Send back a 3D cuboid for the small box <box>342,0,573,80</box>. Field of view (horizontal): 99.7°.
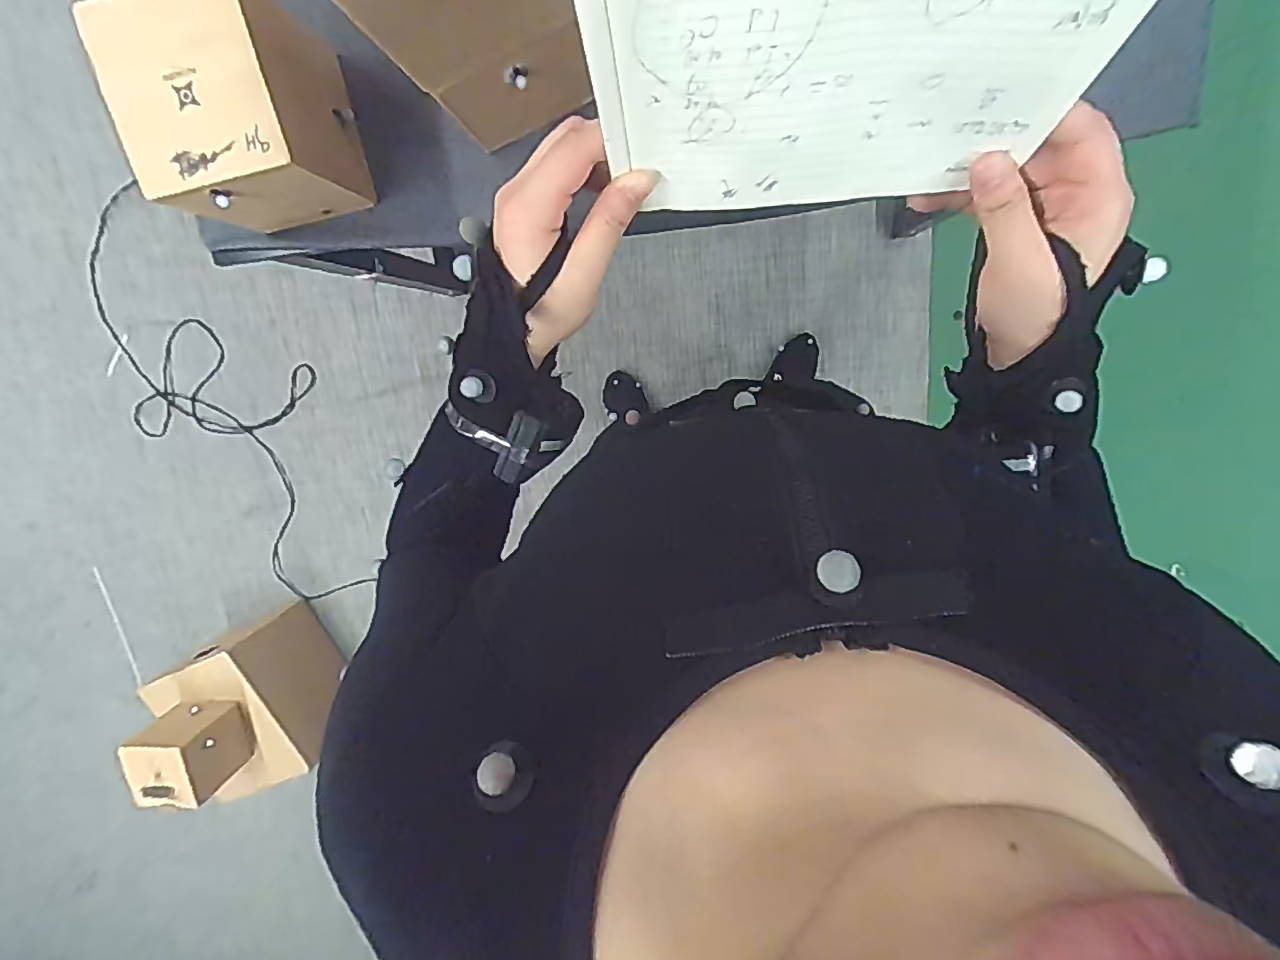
[{"bbox_3d":[-0.163,-0.450,0.404,0.179,0.176,0.168,-19,102,9],"label":"small box"}]

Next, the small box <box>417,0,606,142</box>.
[{"bbox_3d":[-0.151,-0.493,0.563,0.179,0.176,0.168,-21,102,9],"label":"small box"}]

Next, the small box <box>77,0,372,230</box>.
[{"bbox_3d":[-0.438,-0.404,0.604,0.168,0.176,0.179,-10,103,7],"label":"small box"}]

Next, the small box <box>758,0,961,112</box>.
[{"bbox_3d":[0.220,-0.502,0.528,0.168,0.176,0.179,10,105,3],"label":"small box"}]

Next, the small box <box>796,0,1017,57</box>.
[{"bbox_3d":[0.212,-0.440,0.376,0.179,0.176,0.168,-6,103,7],"label":"small box"}]
